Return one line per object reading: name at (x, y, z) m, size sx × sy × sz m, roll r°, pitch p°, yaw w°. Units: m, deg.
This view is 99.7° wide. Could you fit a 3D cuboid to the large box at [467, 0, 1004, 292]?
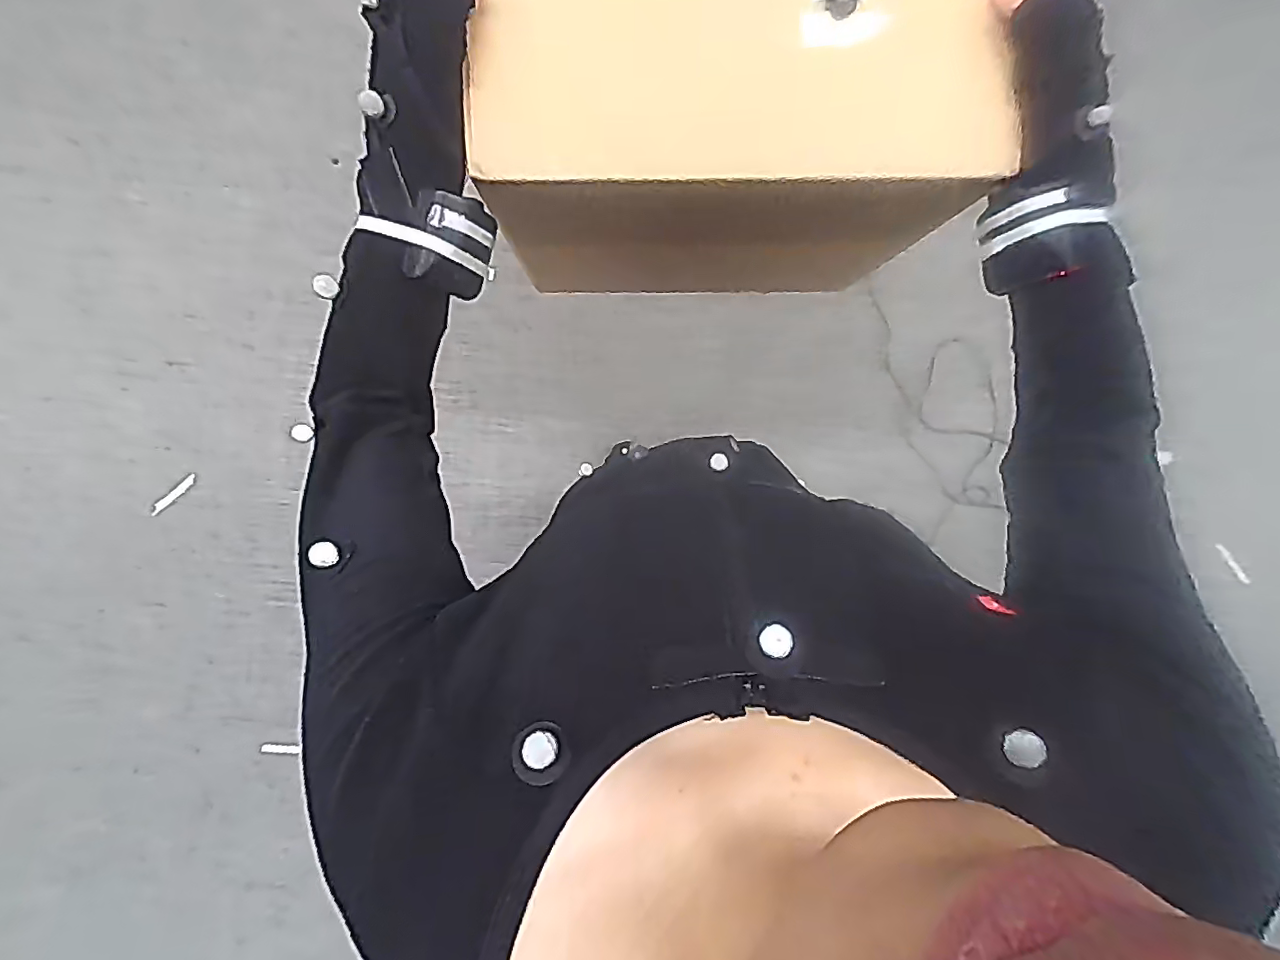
large box at (0.065, -0.391, 0.543) m, size 0.408 × 0.320 × 0.320 m, roll -1°, pitch 94°, yaw -2°
